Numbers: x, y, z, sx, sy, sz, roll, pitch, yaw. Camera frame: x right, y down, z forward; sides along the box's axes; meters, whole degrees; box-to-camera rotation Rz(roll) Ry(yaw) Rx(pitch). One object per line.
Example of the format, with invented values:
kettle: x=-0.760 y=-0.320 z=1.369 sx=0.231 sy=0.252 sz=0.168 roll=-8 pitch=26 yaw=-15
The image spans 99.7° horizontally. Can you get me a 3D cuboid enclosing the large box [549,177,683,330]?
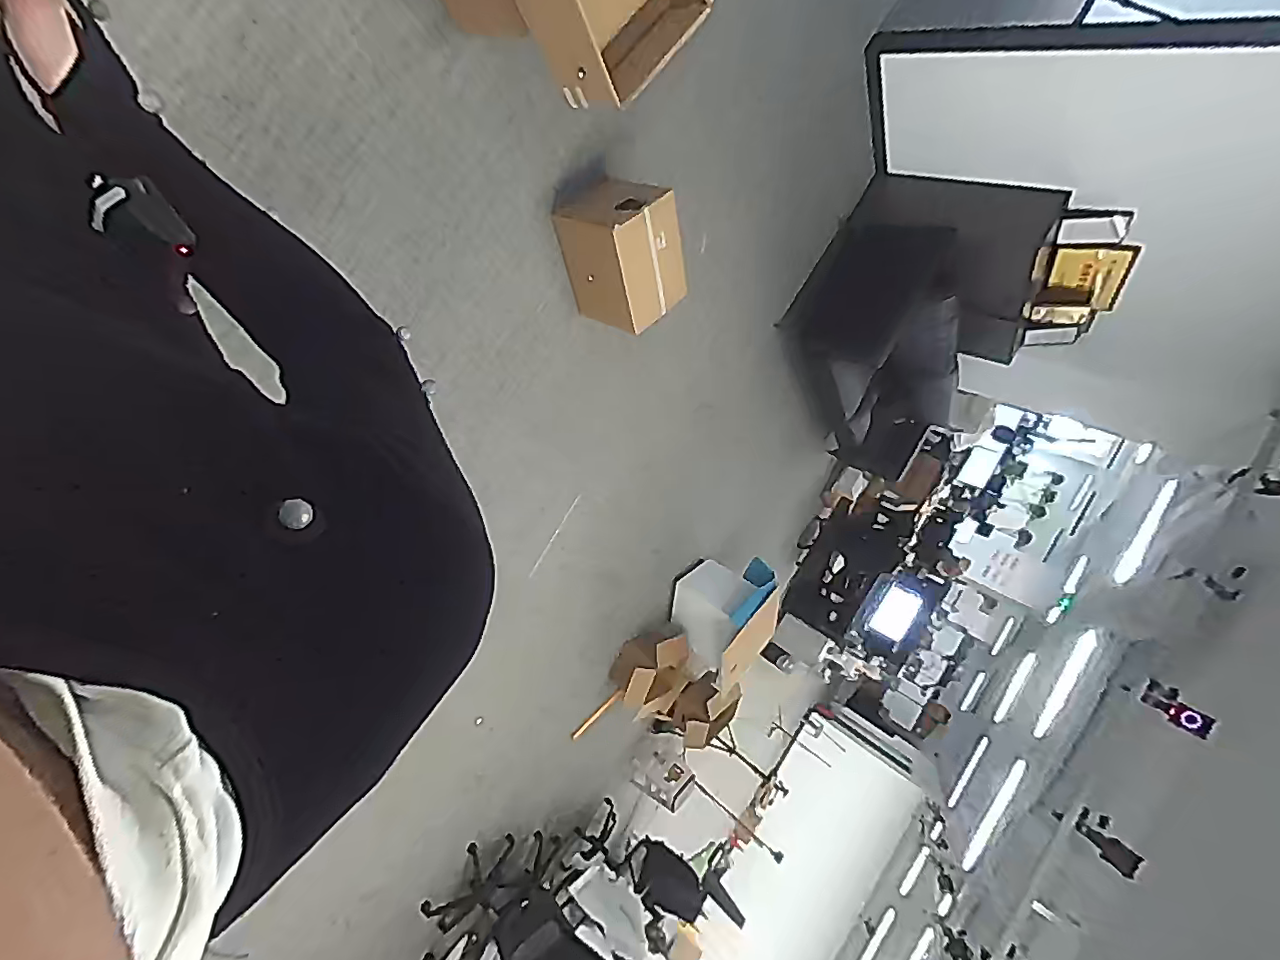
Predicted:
large box: x=-0.076 y=-0.836 z=1.997 sx=0.320 sy=0.320 sz=0.408 roll=-45 pitch=144 yaw=-24
